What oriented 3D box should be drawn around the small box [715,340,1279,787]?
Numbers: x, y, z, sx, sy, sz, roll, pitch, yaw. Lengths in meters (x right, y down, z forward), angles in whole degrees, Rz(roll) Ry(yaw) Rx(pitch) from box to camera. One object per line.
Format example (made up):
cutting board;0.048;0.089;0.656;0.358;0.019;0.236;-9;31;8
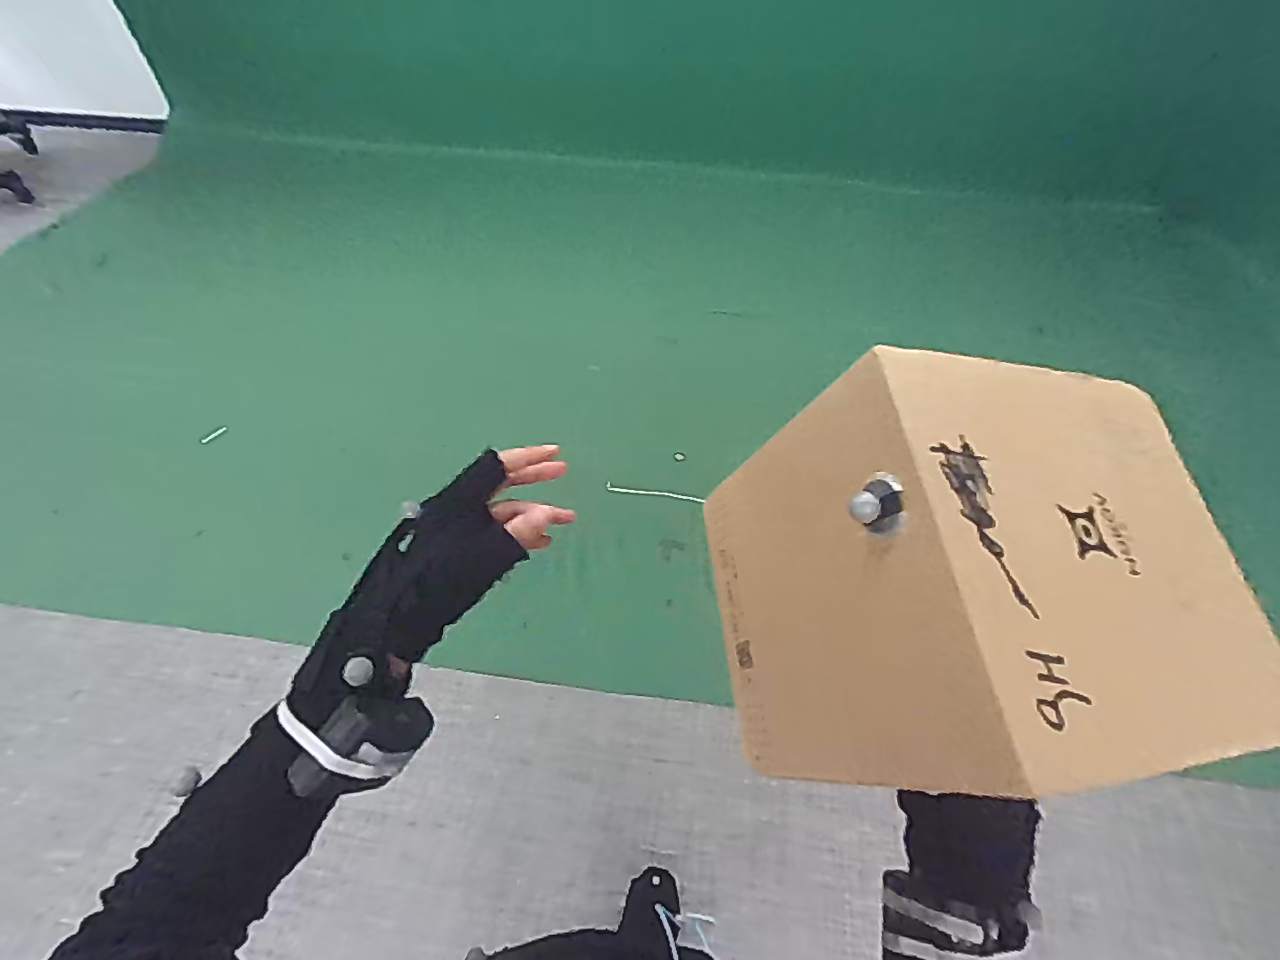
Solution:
small box;0.163;0.055;0.288;0.179;0.176;0.168;4;64;-20
